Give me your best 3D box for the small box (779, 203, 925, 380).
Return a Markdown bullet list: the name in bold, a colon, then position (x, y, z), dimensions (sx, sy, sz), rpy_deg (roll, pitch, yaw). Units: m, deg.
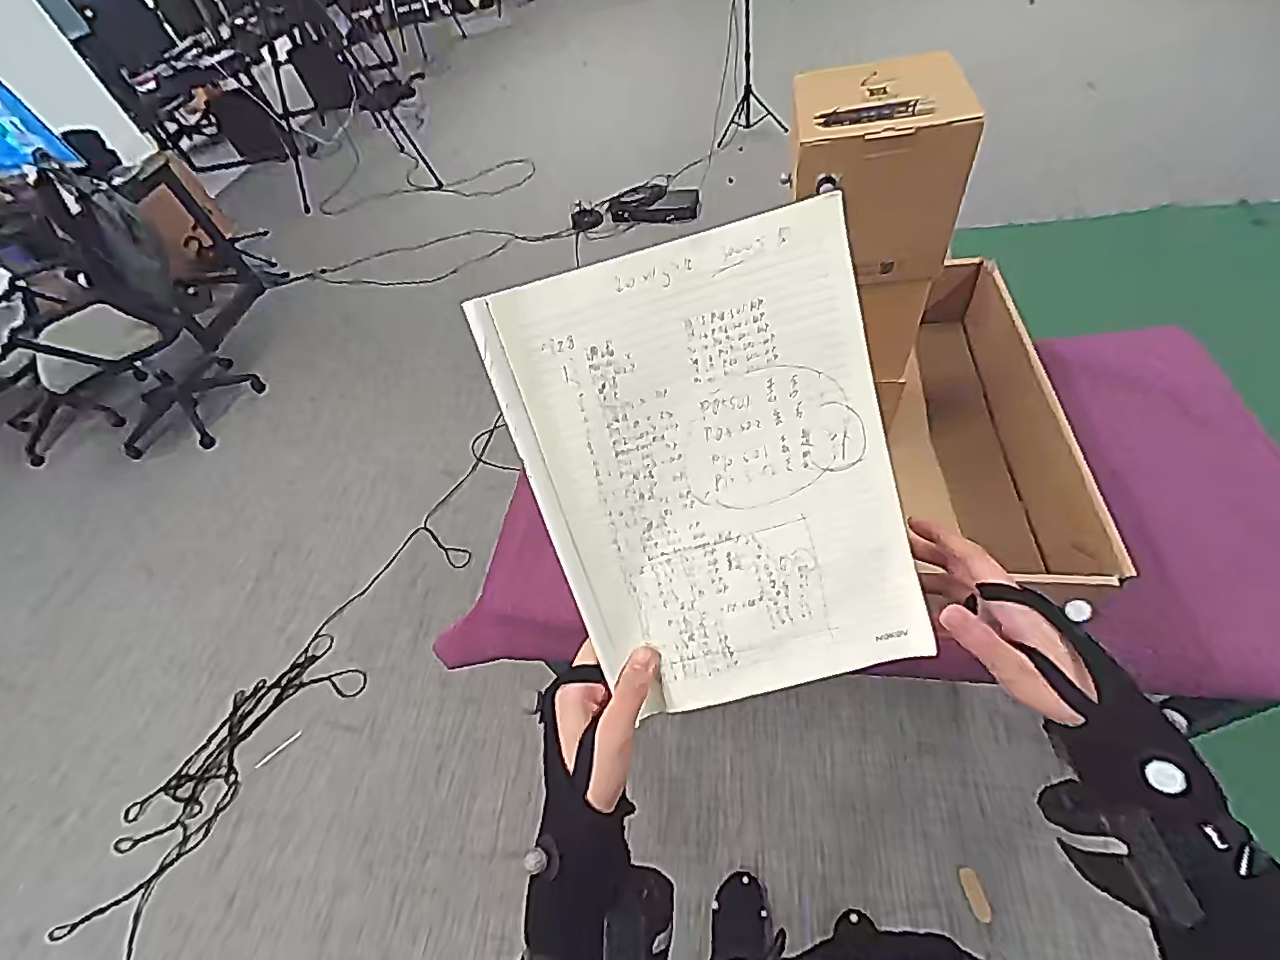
- **small box**: position (0.284, -0.255, 0.758), dimensions (0.168, 0.176, 0.179), rpy_deg (1, 54, 14)
